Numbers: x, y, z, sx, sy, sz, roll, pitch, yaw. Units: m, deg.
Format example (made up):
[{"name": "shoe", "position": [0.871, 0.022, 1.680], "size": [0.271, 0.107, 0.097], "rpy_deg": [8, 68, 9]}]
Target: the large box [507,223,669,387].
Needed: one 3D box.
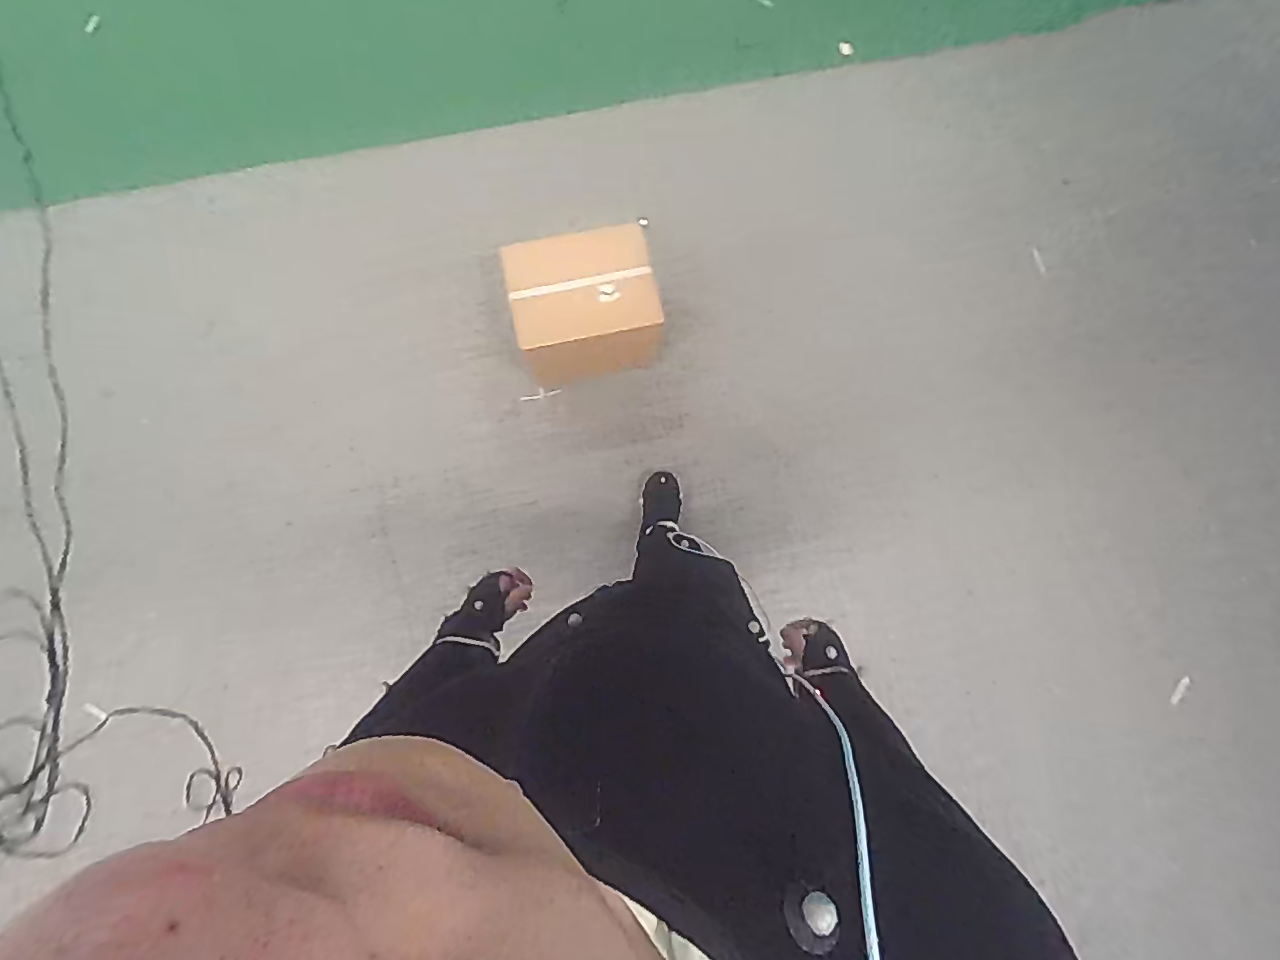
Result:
[{"name": "large box", "position": [-0.149, -0.508, 1.627], "size": [0.408, 0.320, 0.320], "rpy_deg": [-11, 81, -3]}]
